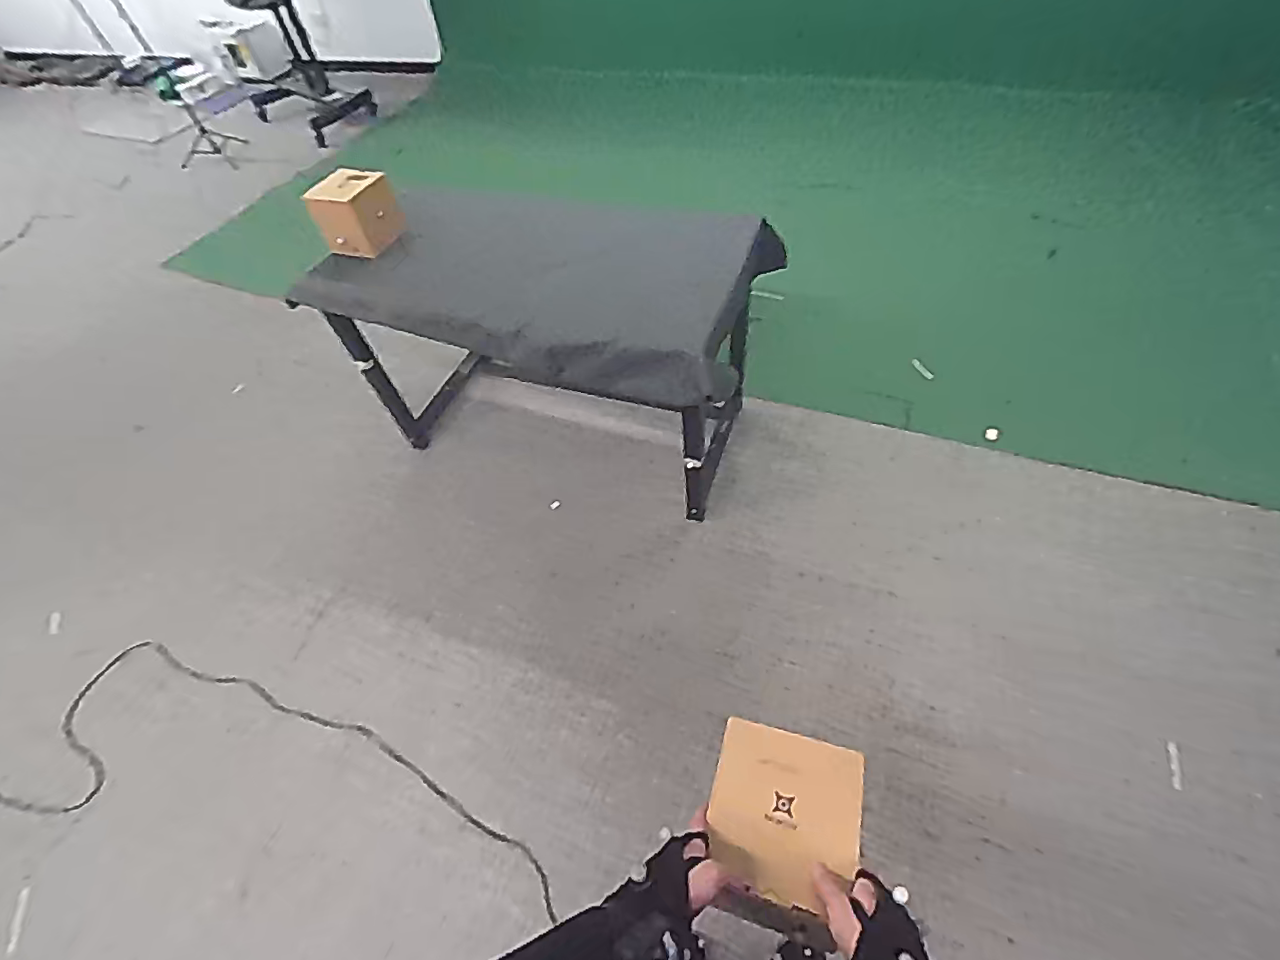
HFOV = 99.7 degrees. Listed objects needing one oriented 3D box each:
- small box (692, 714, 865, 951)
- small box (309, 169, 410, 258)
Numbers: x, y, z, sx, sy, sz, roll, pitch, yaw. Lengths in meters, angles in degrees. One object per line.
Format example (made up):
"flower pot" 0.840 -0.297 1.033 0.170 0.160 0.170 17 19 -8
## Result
"small box" 0.168 0.422 0.650 0.168 0.176 0.179 9 44 18
"small box" -0.807 -0.780 1.583 0.168 0.176 0.179 14 56 16
